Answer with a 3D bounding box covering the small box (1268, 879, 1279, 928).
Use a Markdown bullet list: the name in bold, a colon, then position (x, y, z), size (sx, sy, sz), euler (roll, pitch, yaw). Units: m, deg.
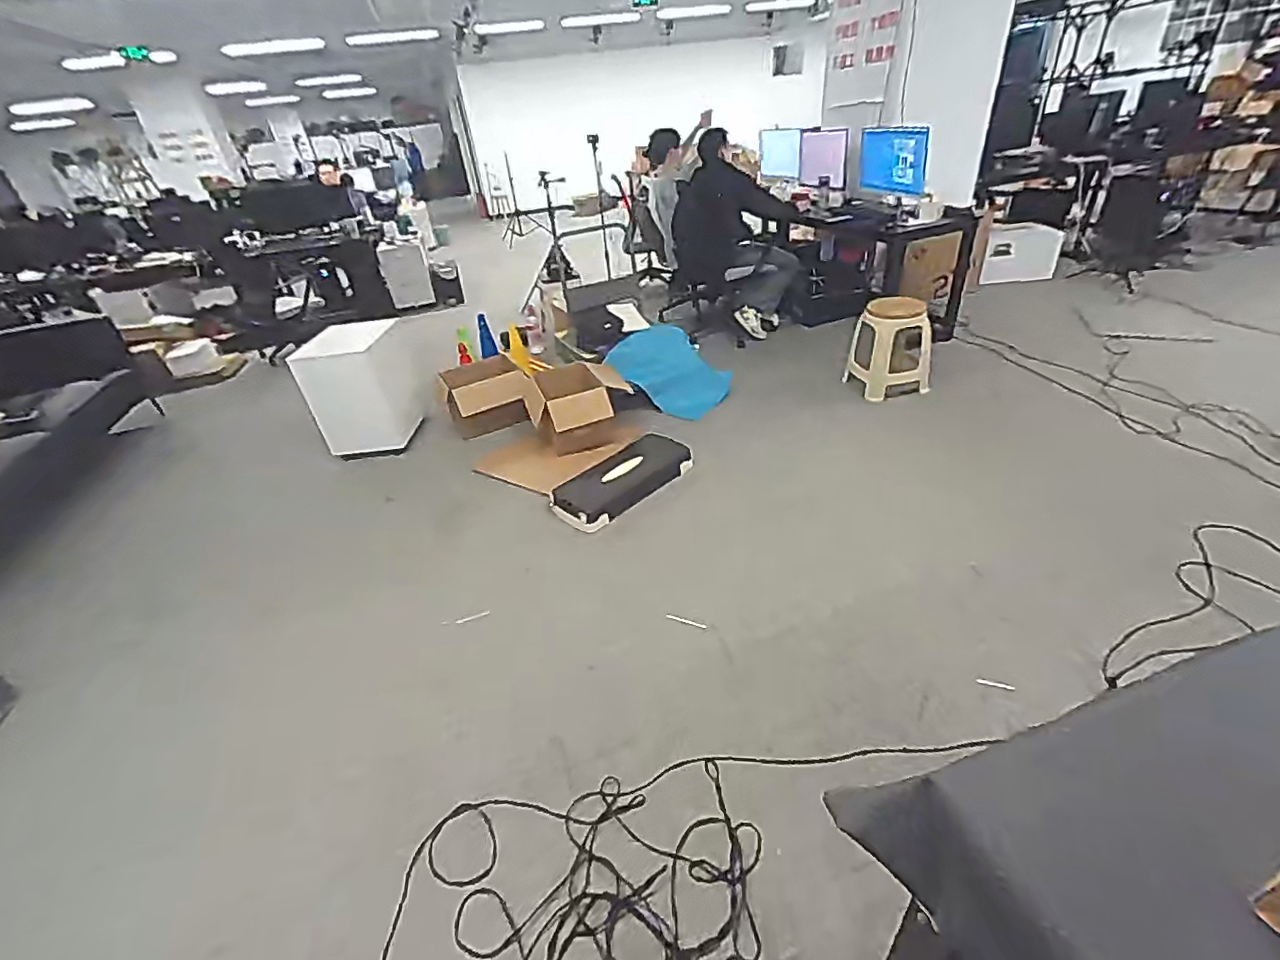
- **small box**: position (0.670, 0.340, 0.418), size (0.179, 0.176, 0.168), euler (-19, 36, -17)
